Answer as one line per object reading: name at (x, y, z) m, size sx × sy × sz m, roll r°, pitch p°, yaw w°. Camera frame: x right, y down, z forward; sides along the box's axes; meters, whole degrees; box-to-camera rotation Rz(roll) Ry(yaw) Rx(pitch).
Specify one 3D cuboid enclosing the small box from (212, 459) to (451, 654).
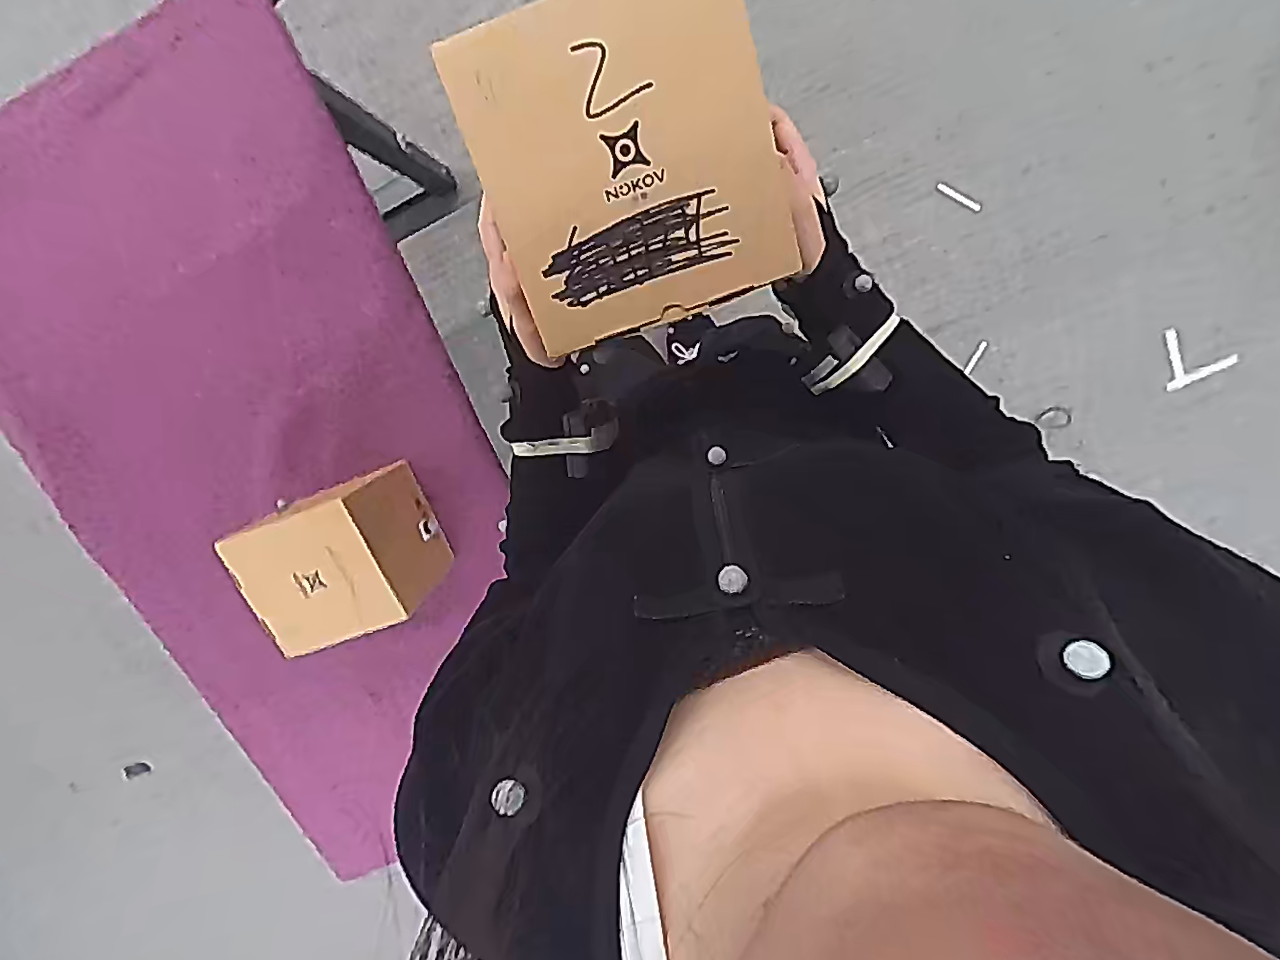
small box at (-0.382, 0.090, 0.705) m, size 0.179 × 0.176 × 0.168 m, roll -20°, pitch 106°, yaw 7°
